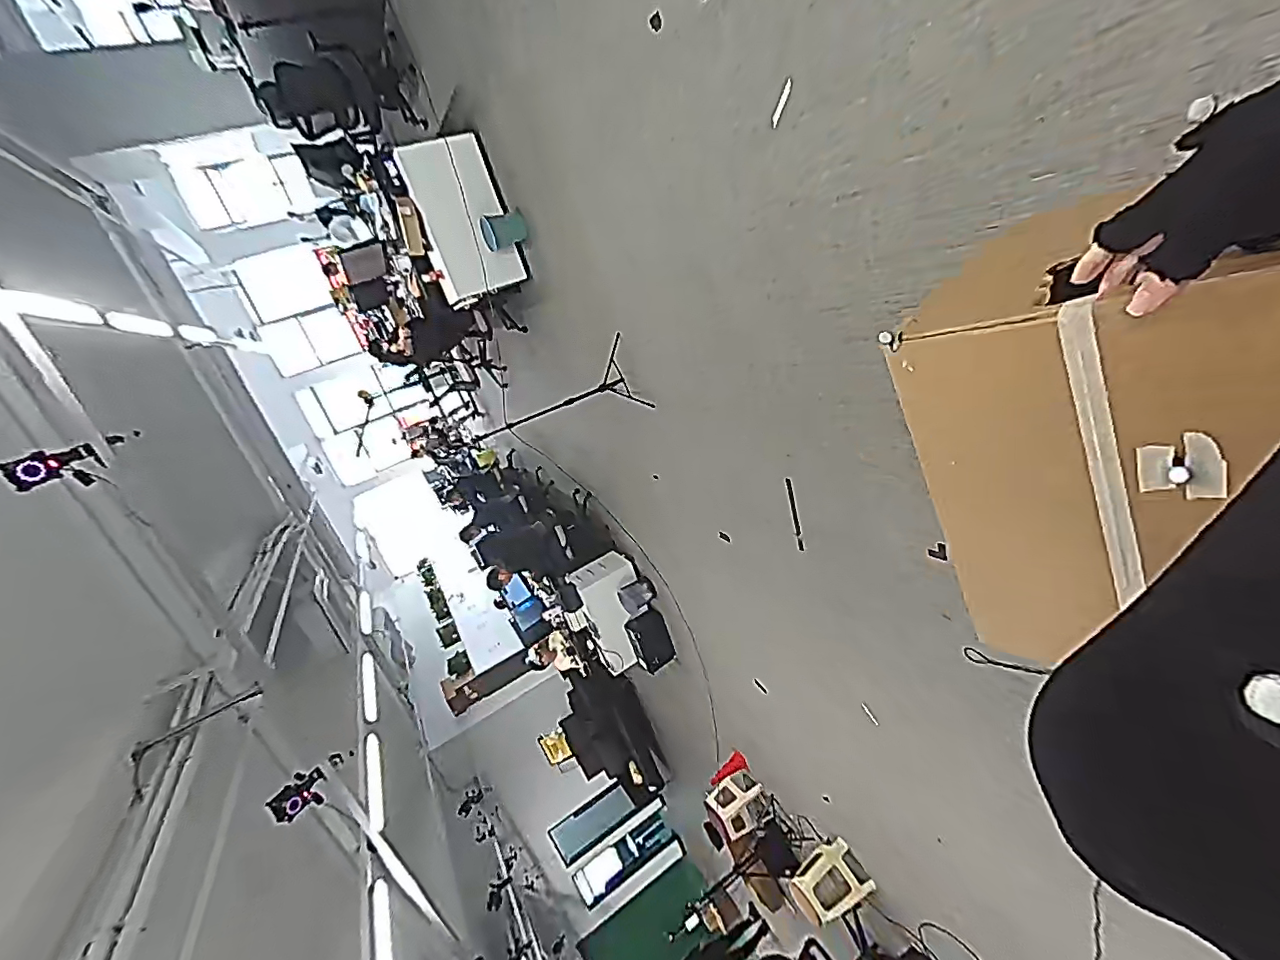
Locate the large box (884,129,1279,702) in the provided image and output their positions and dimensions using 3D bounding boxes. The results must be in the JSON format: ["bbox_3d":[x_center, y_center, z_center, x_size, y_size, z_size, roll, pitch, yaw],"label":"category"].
[{"bbox_3d":[0.515,-0.065,0.522,0.320,0.320,0.408,4,127,58],"label":"large box"}]
